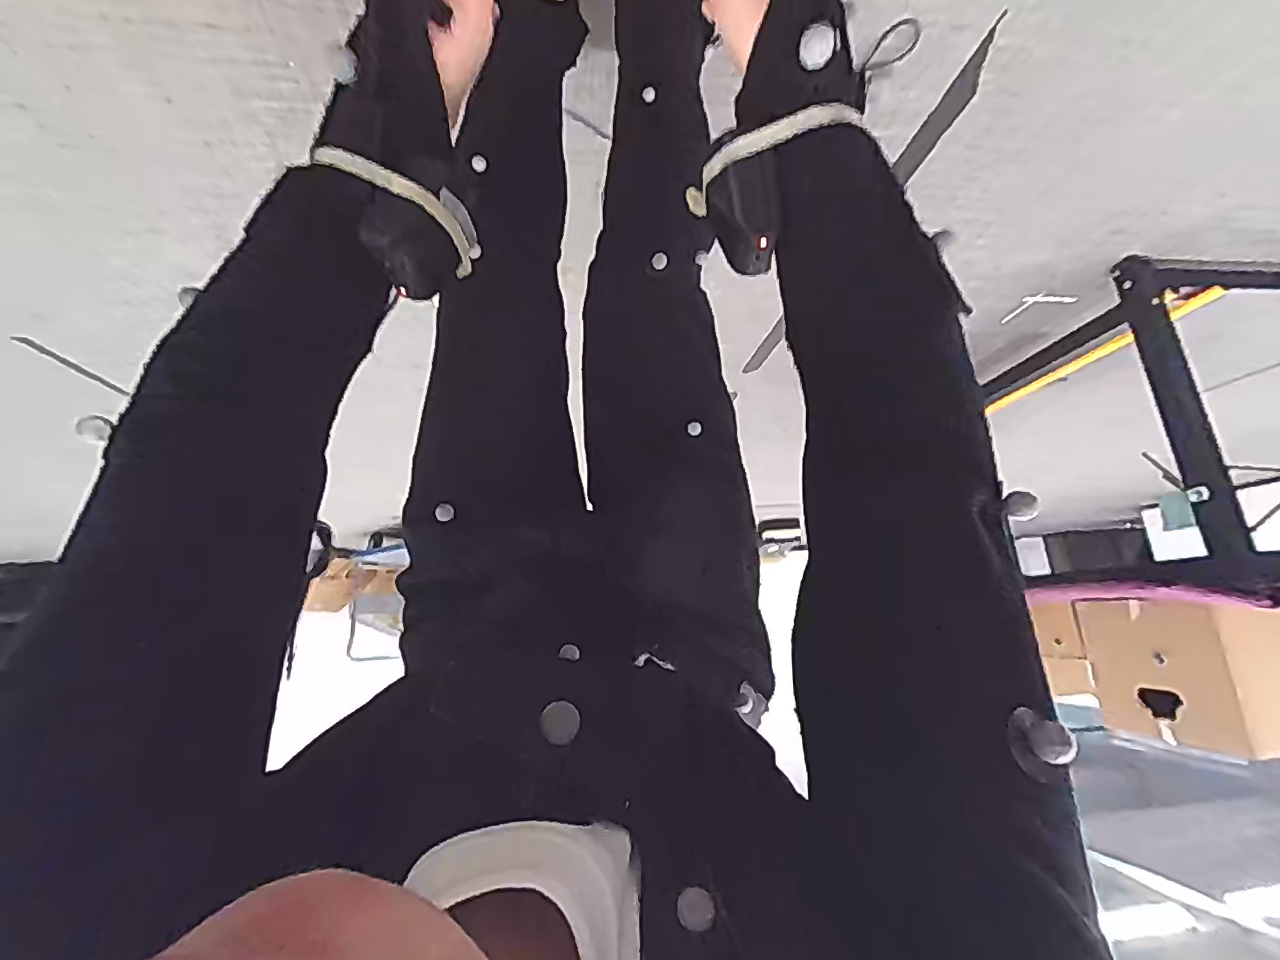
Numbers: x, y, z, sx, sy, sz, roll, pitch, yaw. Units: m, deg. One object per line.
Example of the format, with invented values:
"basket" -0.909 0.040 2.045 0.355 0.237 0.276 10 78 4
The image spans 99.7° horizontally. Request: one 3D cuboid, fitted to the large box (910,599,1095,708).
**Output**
"large box" 1.248 0.602 1.905 0.408 0.320 0.320 -3 165 -8
